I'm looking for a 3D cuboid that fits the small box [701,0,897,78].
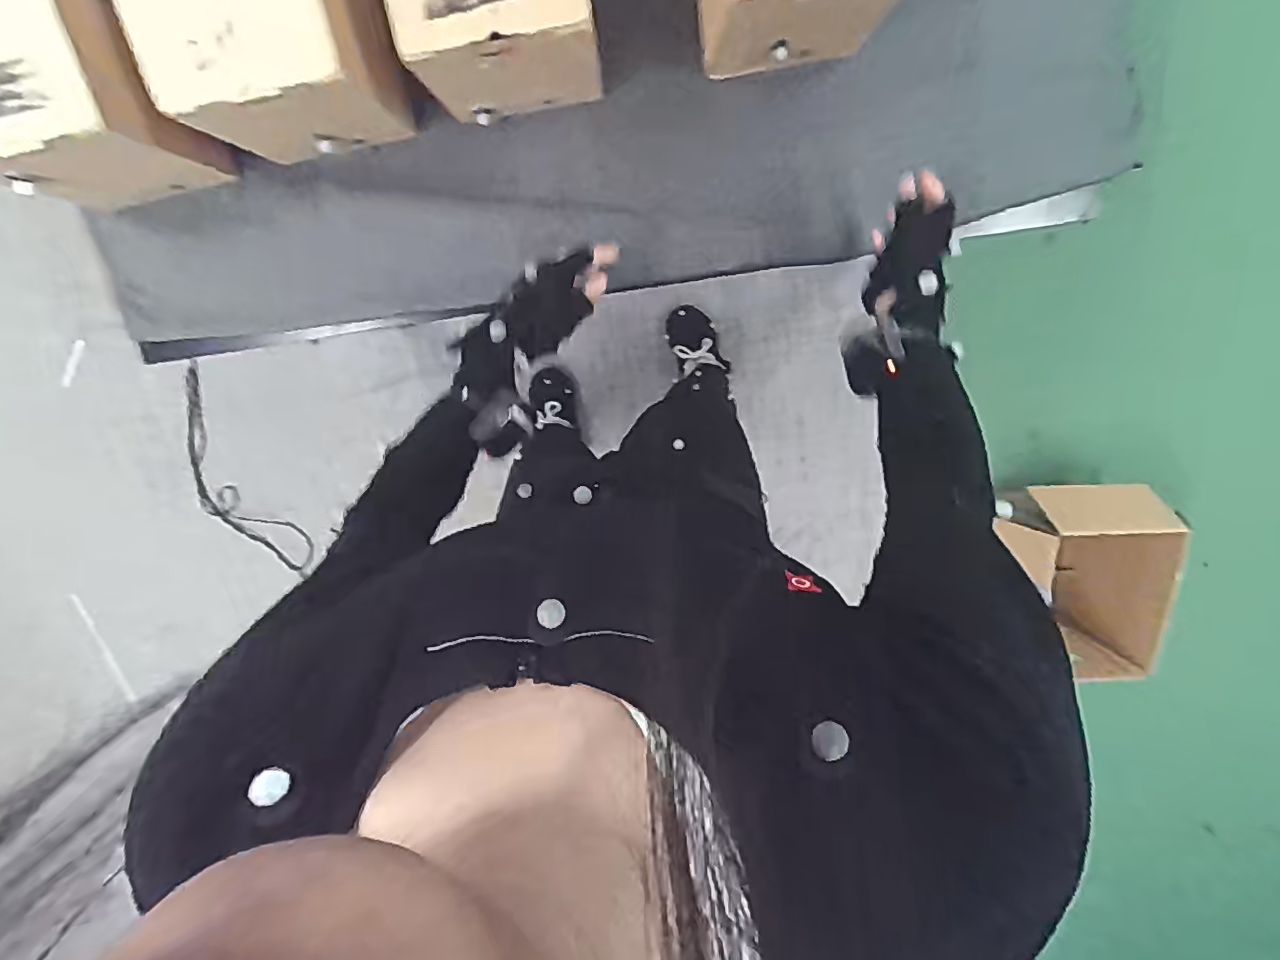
[{"bbox_3d":[0.145,-0.518,0.500,0.168,0.176,0.179,-9,108,2],"label":"small box"}]
